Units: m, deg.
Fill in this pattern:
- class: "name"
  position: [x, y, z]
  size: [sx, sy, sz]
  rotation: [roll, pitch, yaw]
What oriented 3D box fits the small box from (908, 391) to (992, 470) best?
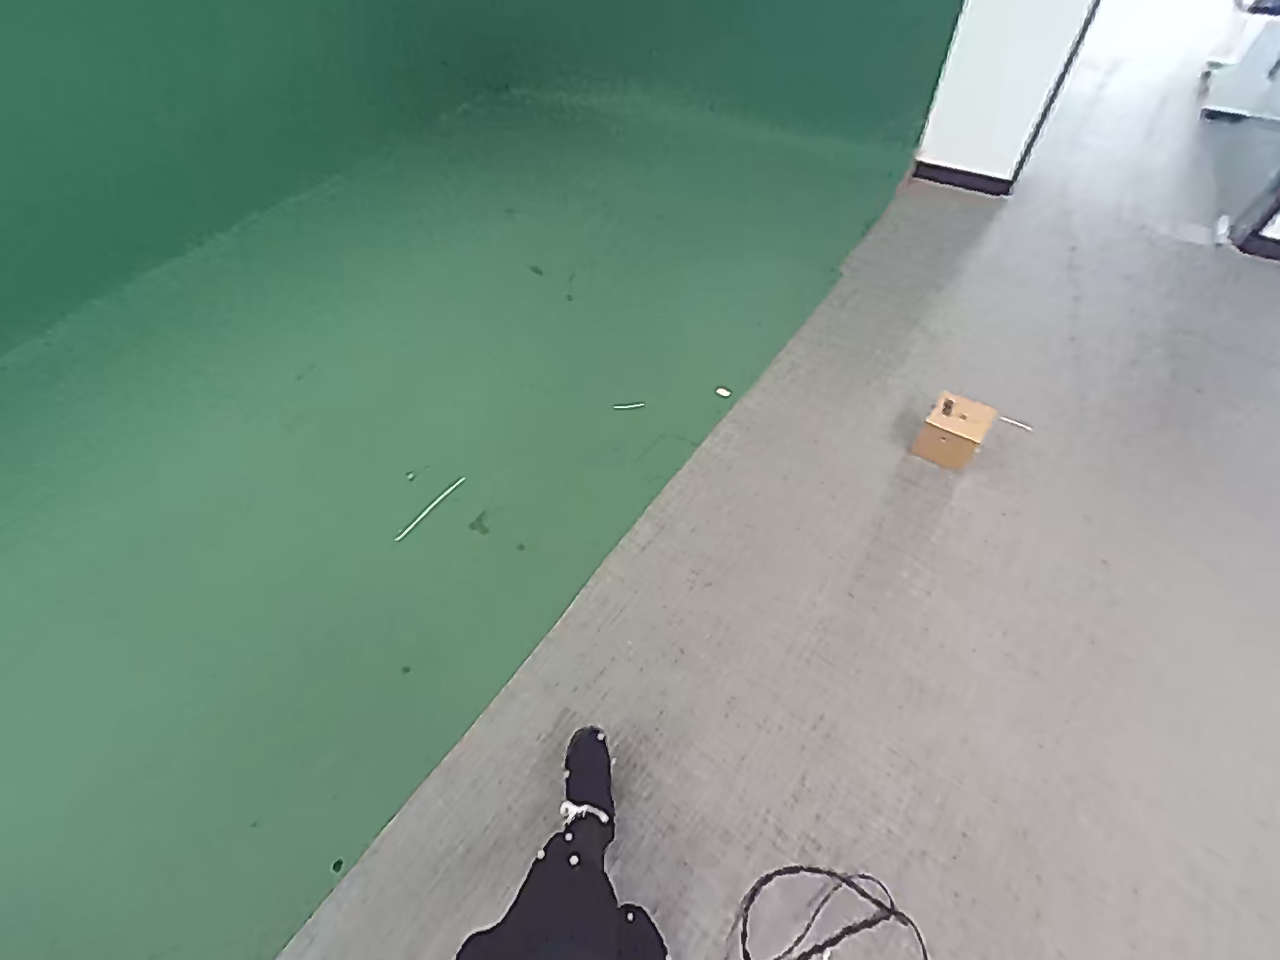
- class: "small box"
  position: [1.043, -0.164, 1.835]
  size: [0.179, 0.176, 0.168]
  rotation: [29, 63, 22]
